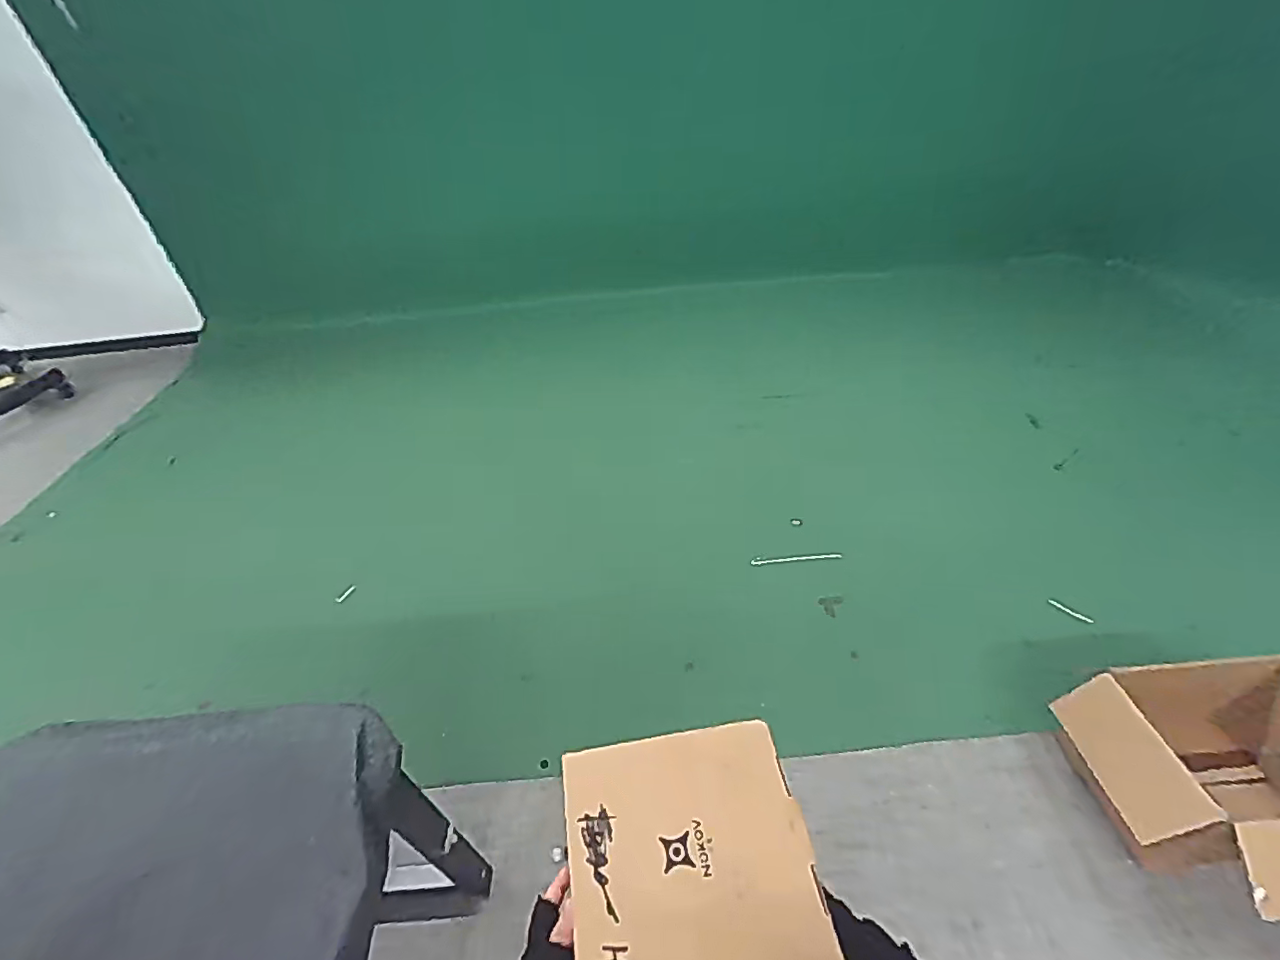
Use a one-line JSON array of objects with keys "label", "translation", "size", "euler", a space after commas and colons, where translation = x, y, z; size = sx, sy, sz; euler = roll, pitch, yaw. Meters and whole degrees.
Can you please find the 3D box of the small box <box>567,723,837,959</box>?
[{"label": "small box", "translation": [0.033, 0.328, 0.456], "size": [0.179, 0.176, 0.168], "euler": [-5, 45, -7]}]
